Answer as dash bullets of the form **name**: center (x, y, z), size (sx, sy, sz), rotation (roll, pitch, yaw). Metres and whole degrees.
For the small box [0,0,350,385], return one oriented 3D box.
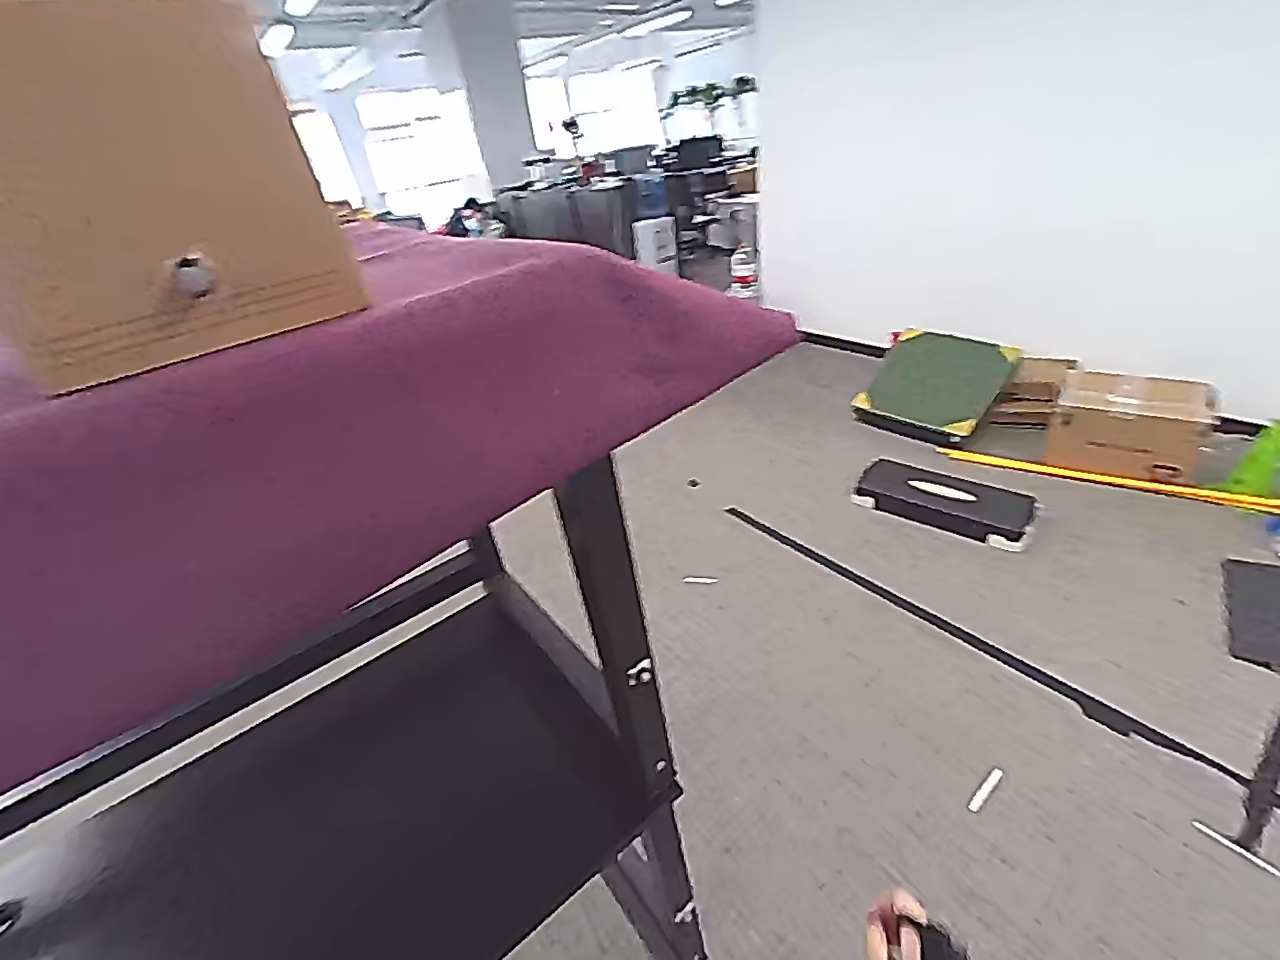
- **small box**: center (-0.307, -0.177, 0.335), size (0.179, 0.176, 0.168), rotation (-29, 37, -29)
